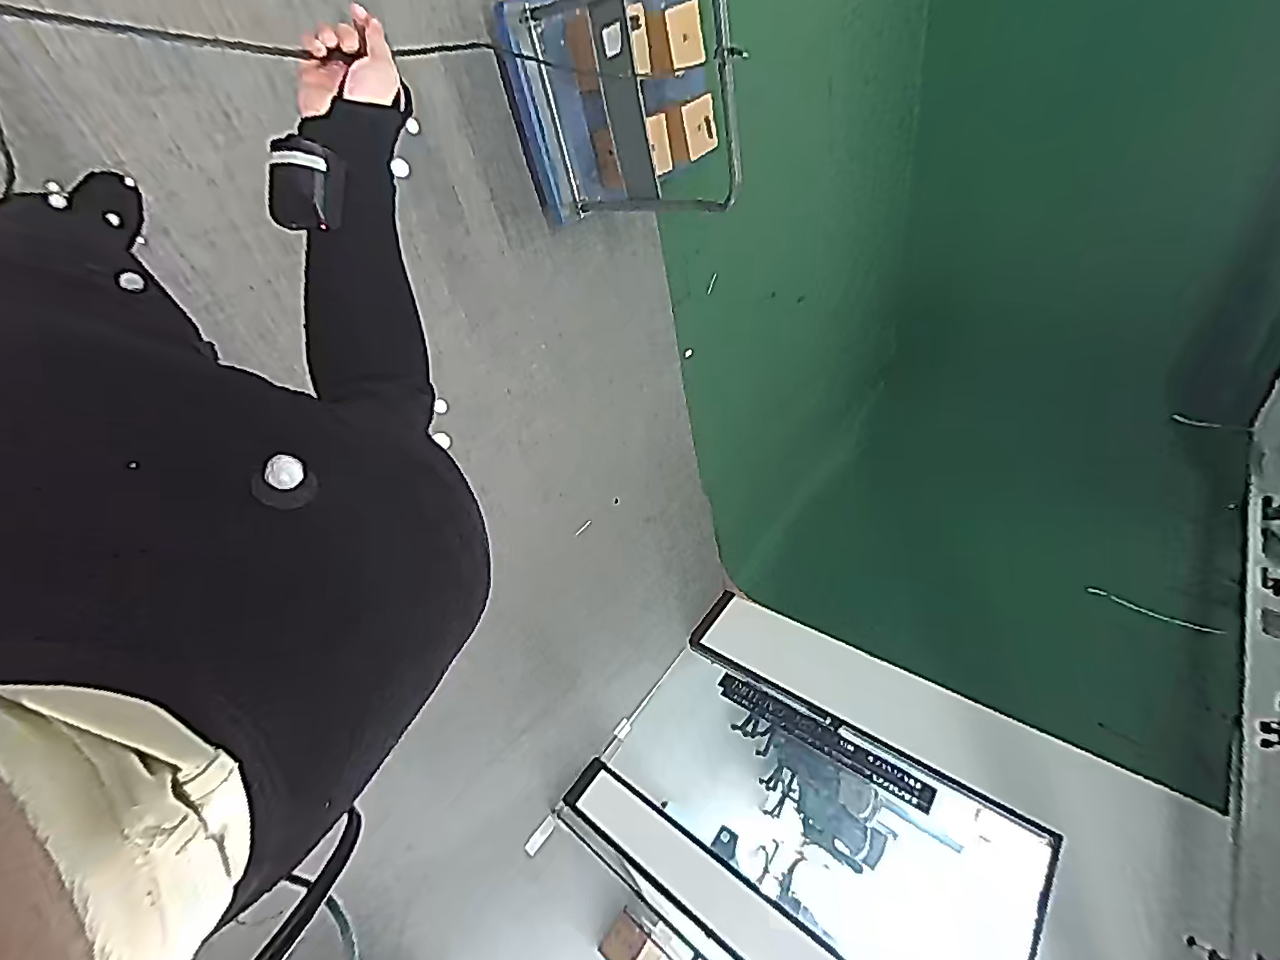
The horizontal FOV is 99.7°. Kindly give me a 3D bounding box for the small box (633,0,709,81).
[{"bbox_3d":[0.097,-1.426,1.754,0.179,0.176,0.168,-46,137,-28],"label":"small box"}]

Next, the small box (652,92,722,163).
[{"bbox_3d":[0.164,-1.244,1.914,0.179,0.176,0.168,-45,135,-27],"label":"small box"}]

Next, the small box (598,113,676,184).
[{"bbox_3d":[-0.008,-1.087,1.777,0.179,0.176,0.168,-41,134,-31],"label":"small box"}]
